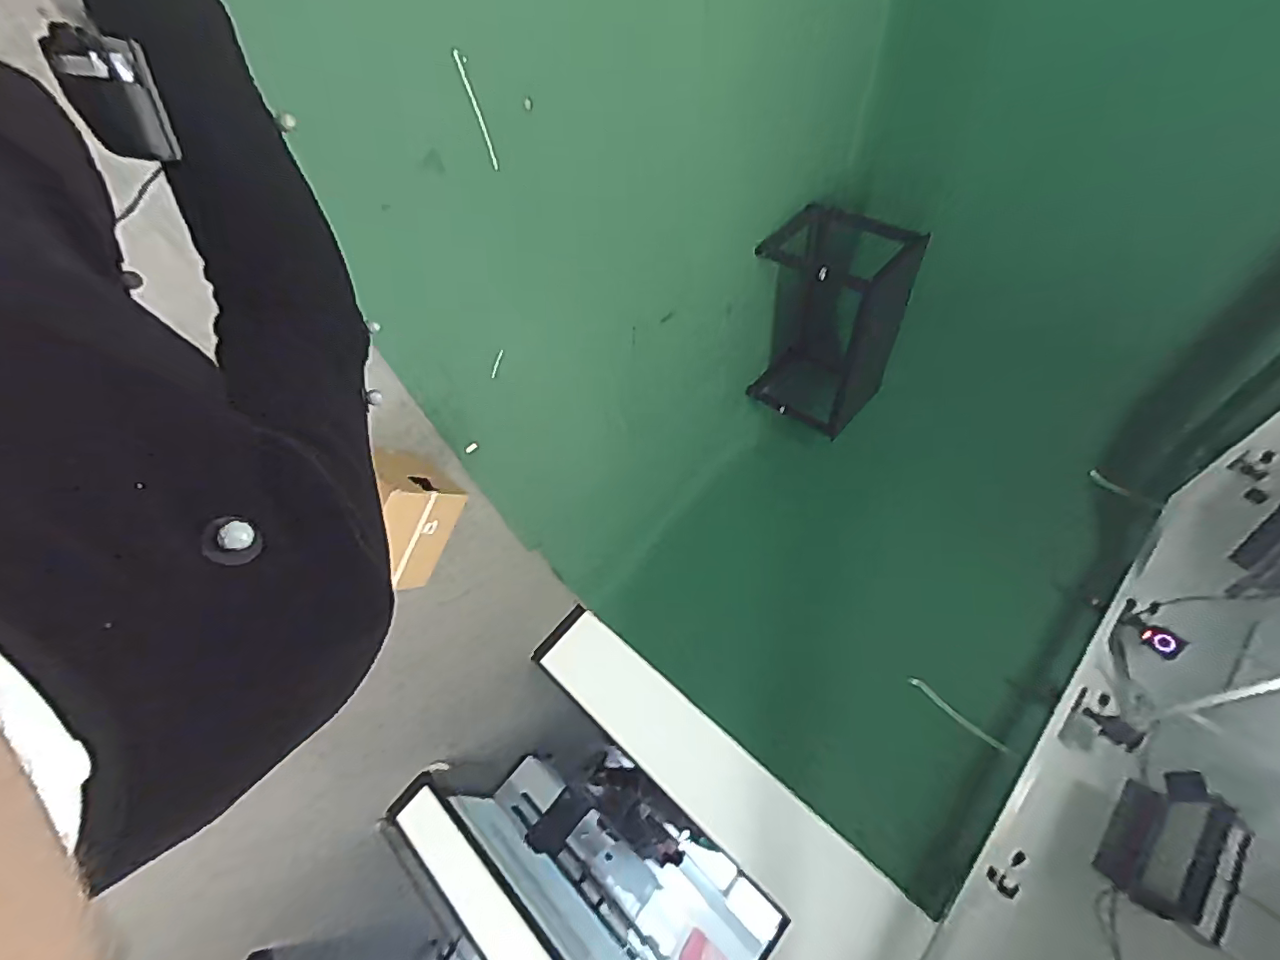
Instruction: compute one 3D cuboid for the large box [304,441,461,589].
[{"bbox_3d":[-0.914,0.123,1.915,0.320,0.320,0.408,8,113,-61],"label":"large box"}]
